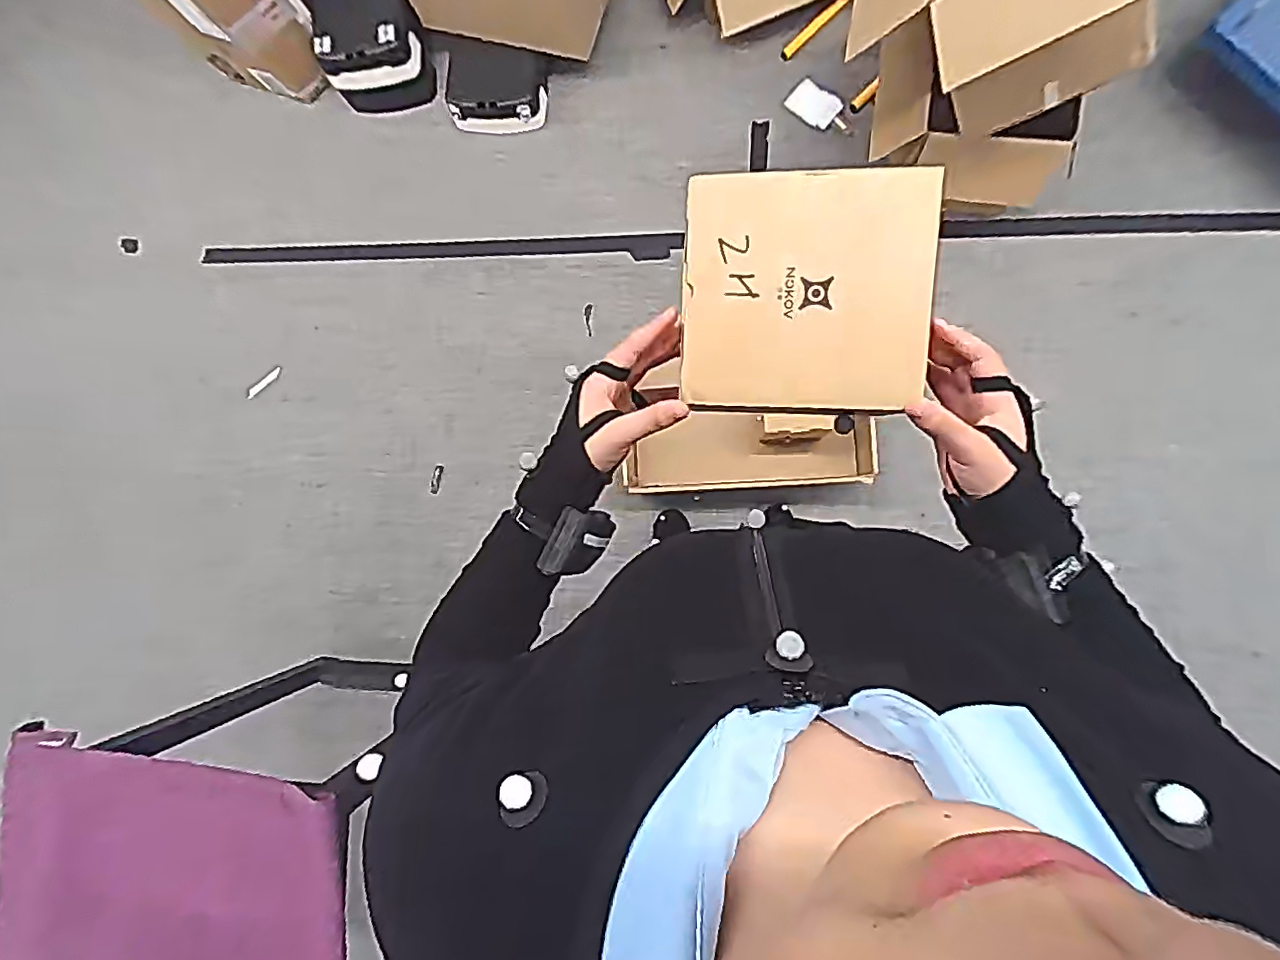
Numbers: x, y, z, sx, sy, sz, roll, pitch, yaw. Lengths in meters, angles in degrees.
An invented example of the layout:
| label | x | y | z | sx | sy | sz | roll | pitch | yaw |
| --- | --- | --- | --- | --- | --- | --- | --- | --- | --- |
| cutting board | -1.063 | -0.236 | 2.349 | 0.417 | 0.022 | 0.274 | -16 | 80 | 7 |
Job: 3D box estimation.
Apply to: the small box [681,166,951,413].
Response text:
| label | x | y | z | sx | sy | sz | roll | pitch | yaw |
| --- | --- | --- | --- | --- | --- | --- | --- | --- | --- |
| small box | 0.131 | -0.144 | 0.461 | 0.179 | 0.176 | 0.168 | 3 | 96 | 9 |

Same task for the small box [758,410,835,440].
| label | x | y | z | sx | sy | sz | roll | pitch | yaw |
| --- | --- | --- | --- | --- | --- | --- | --- | --- | --- |
| small box | 0.390 | -0.202 | 1.376 | 0.168 | 0.176 | 0.179 | -3 | 87 | 7 |
